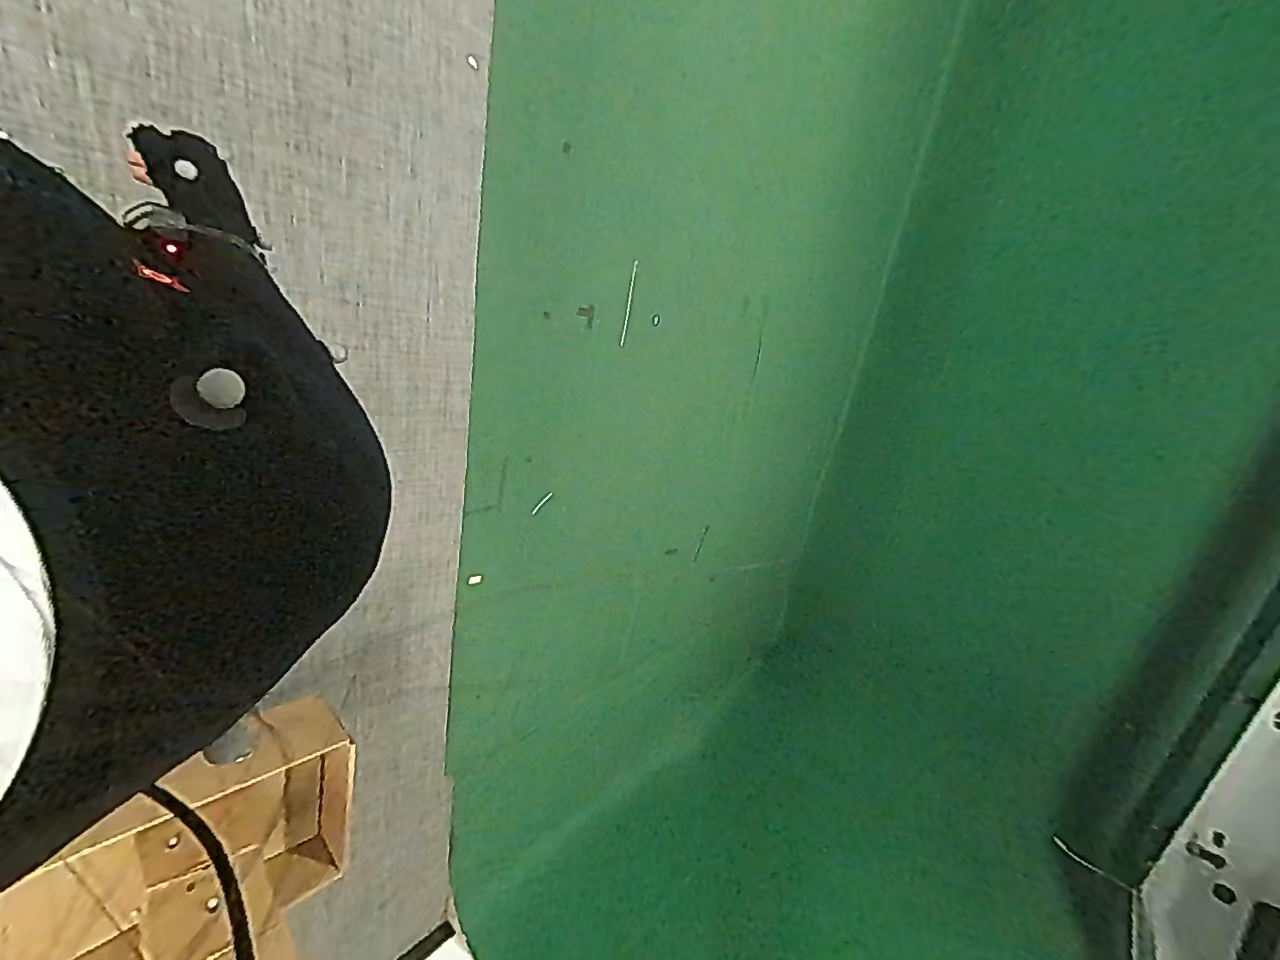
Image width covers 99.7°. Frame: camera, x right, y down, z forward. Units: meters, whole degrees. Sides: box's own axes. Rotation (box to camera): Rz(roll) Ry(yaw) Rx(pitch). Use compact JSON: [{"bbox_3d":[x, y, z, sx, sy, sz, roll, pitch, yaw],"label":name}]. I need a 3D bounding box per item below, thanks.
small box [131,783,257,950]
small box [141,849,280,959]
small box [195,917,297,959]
[{"bbox_3d":[-0.863,0.725,1.044,0.168,0.176,0.179,-3,115,-47],"label":"small box"},{"bbox_3d":[-0.752,0.793,0.945,0.168,0.176,0.179,-4,113,-47],"label":"small box"},{"bbox_3d":[-0.635,0.850,0.842,0.179,0.176,0.168,-7,116,-45],"label":"small box"}]
